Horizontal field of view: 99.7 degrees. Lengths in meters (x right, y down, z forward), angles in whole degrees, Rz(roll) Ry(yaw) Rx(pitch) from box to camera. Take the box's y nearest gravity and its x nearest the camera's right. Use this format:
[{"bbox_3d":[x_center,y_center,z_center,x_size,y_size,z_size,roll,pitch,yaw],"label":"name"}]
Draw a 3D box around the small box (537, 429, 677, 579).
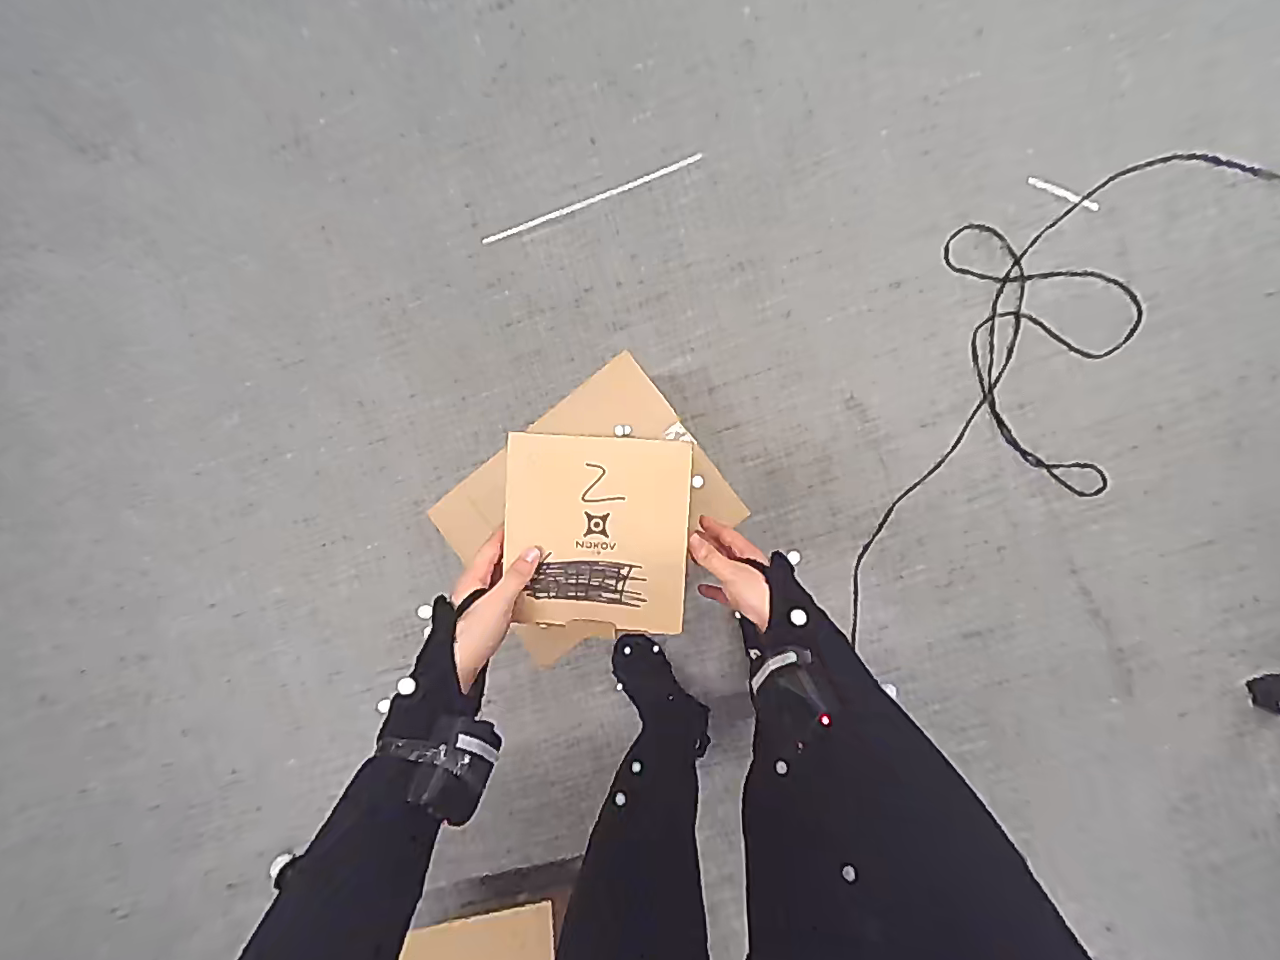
[{"bbox_3d":[-0.037,0.023,0.736,0.168,0.176,0.179,3,95,3],"label":"small box"}]
